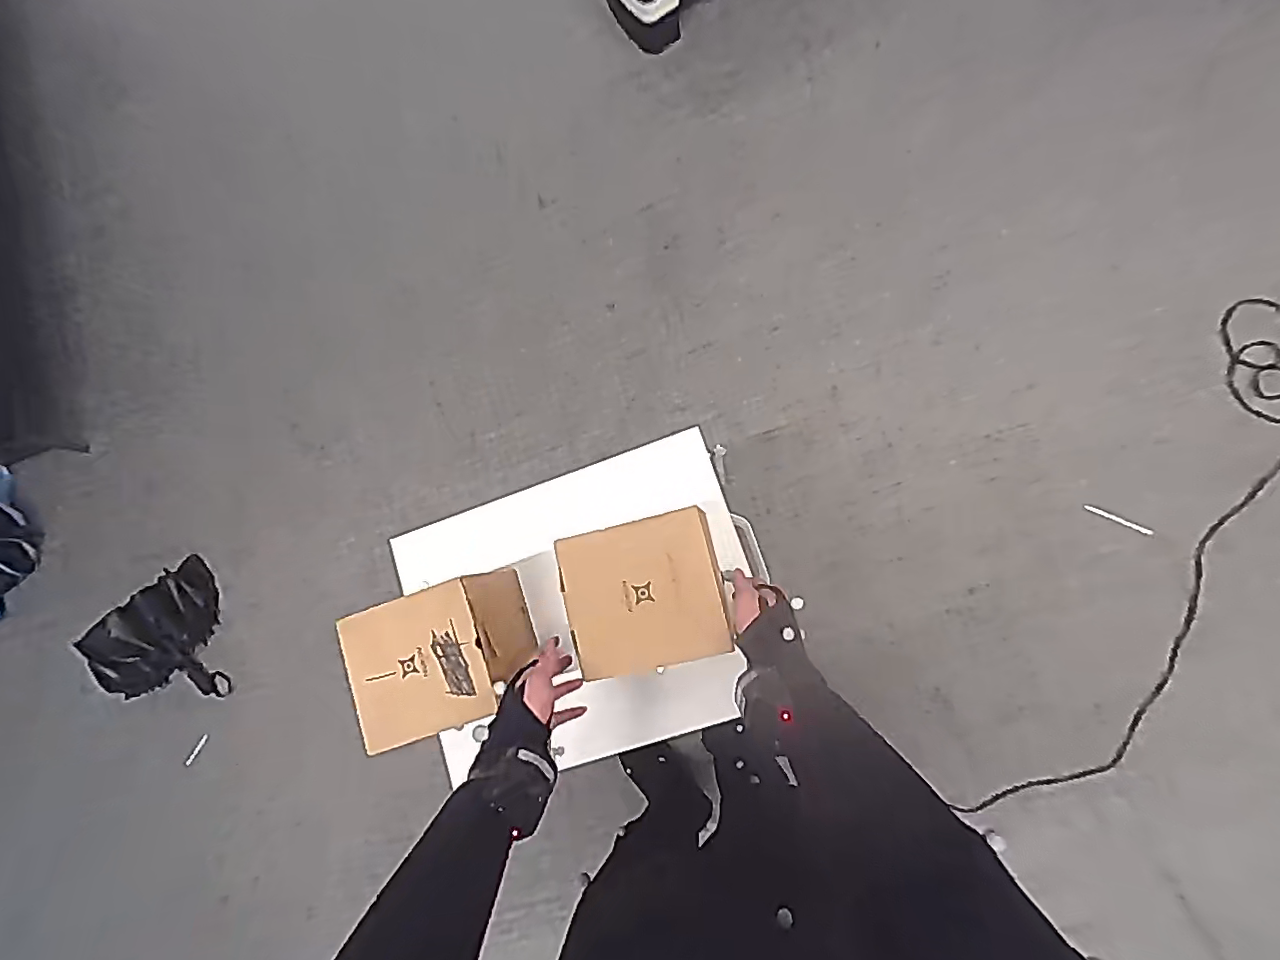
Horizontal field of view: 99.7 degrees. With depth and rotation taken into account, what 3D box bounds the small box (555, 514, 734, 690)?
[{"bbox_3d":[0.015,0.146,0.680,0.179,0.176,0.168,-16,82,7],"label":"small box"}]
